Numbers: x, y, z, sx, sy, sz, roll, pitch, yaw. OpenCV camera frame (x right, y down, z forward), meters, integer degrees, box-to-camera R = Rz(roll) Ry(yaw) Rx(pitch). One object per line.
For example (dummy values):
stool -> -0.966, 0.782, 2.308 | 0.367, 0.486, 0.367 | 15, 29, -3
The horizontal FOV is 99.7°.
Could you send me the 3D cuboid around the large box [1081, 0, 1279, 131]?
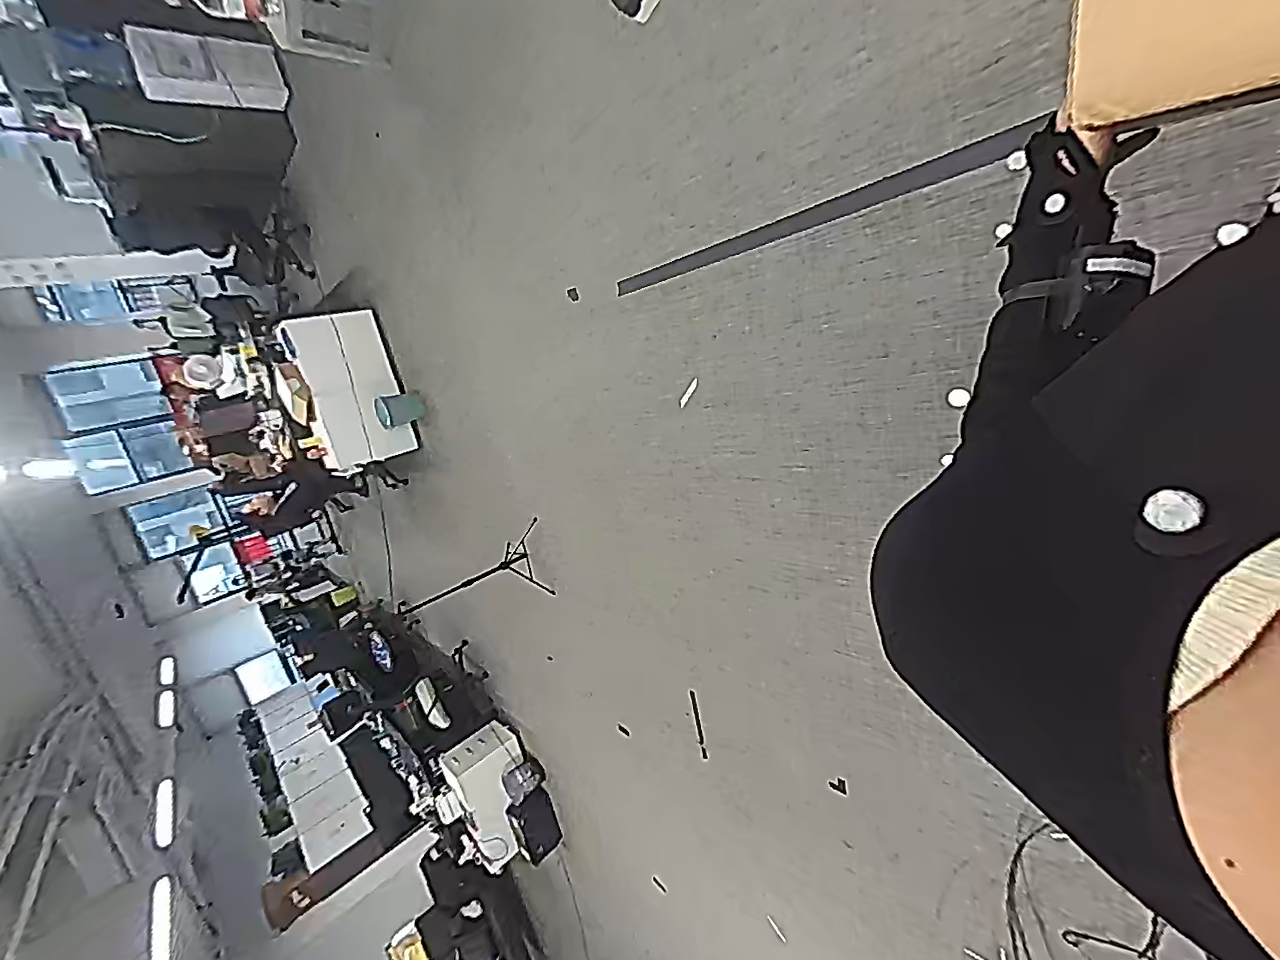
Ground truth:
large box -> 0.403, -0.338, 0.152 | 0.408, 0.320, 0.320 | 8, 120, 41
